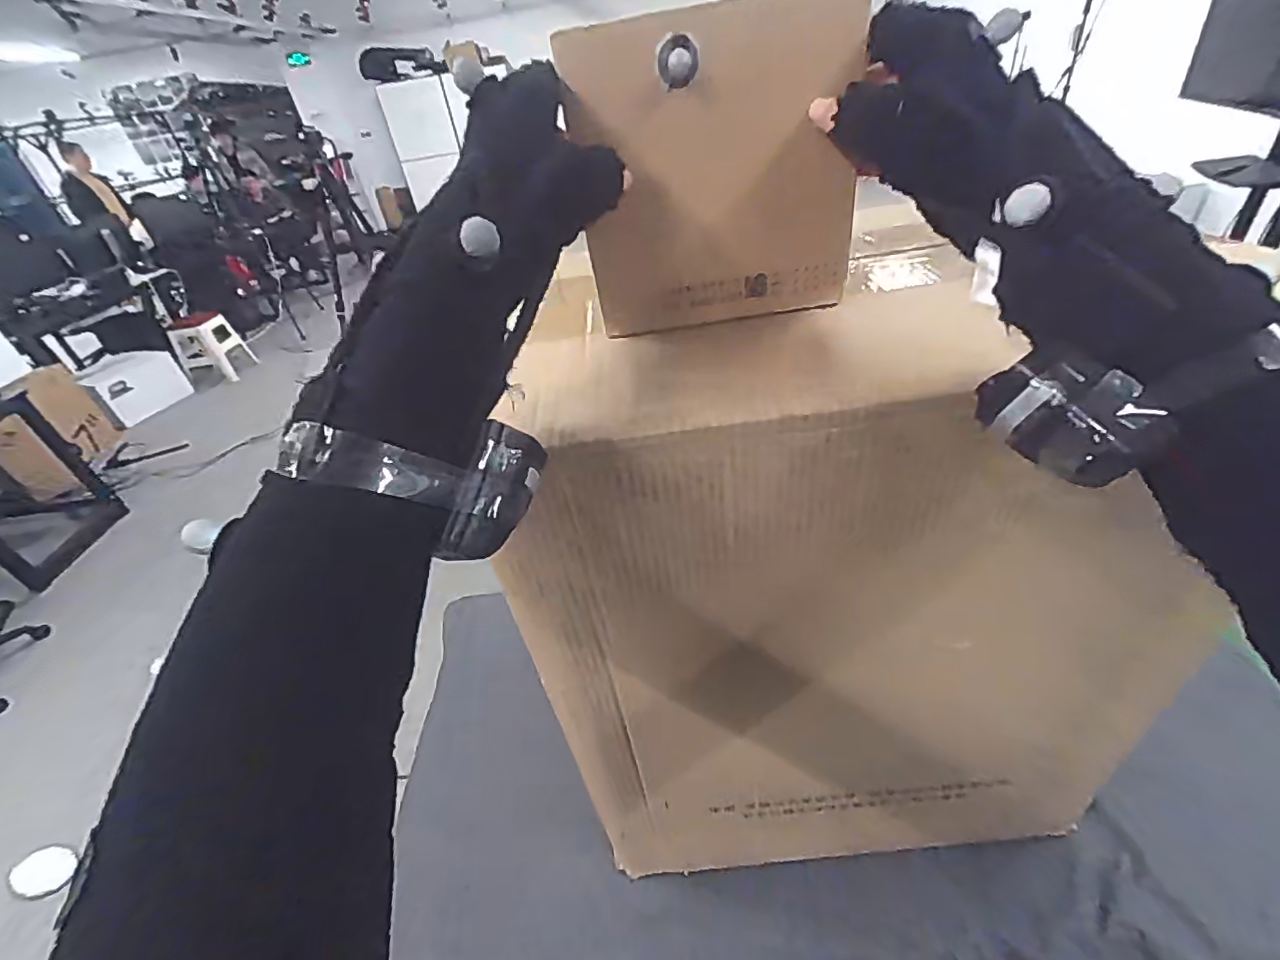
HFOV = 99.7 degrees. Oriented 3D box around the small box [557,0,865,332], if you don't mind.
[{"bbox_3d":[0.045,-0.224,0.397,0.168,0.176,0.179,-8,36,4],"label":"small box"}]
